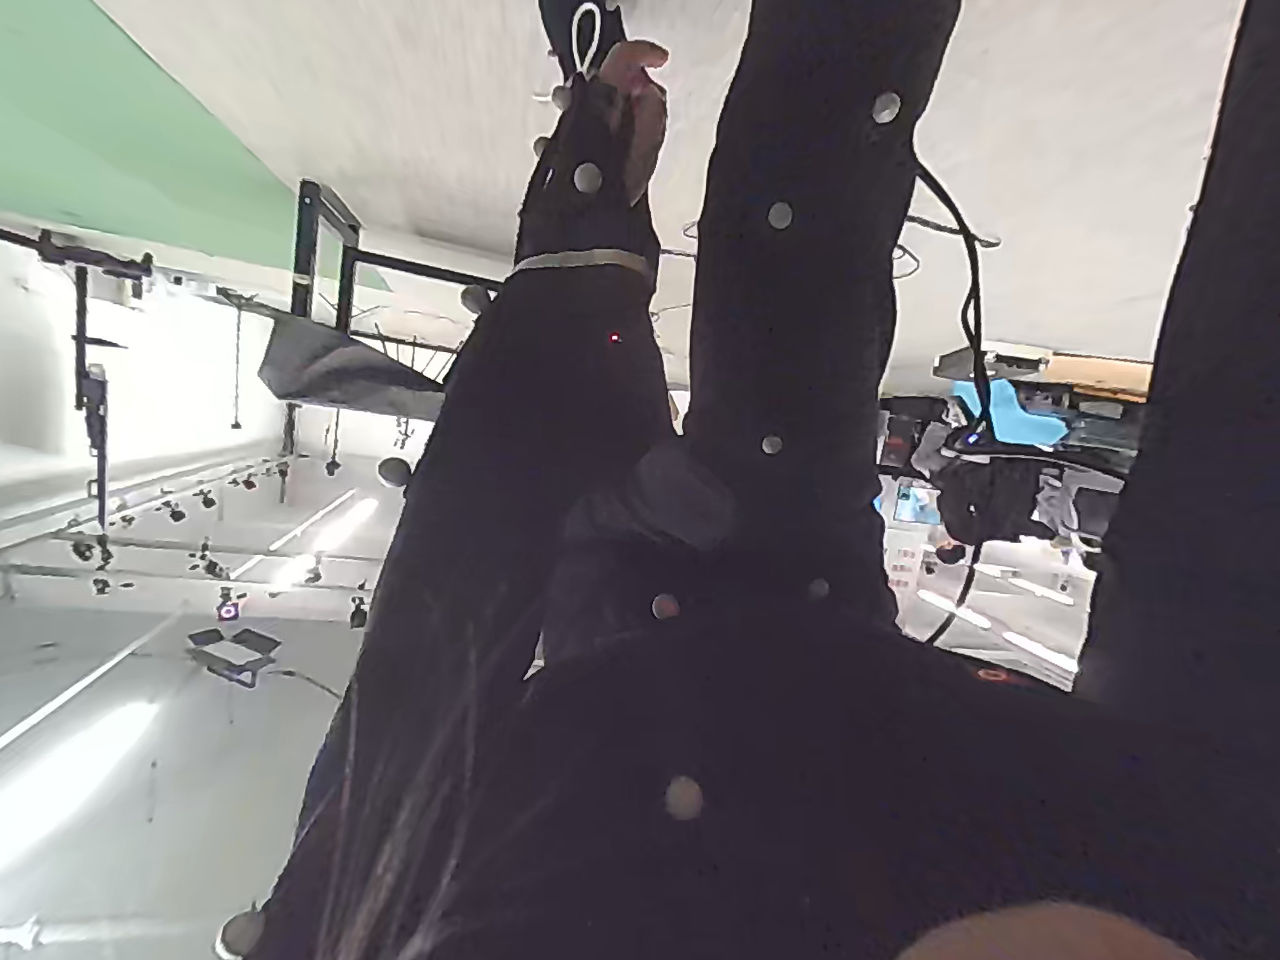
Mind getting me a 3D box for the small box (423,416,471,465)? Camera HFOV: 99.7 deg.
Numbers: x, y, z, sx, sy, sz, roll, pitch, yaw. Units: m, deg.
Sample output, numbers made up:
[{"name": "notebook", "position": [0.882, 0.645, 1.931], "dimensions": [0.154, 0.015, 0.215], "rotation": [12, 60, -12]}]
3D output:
[{"name": "small box", "position": [-0.780, -0.165, 2.196], "dimensions": [0.168, 0.176, 0.179], "rotation": [6, -173, -18]}]
